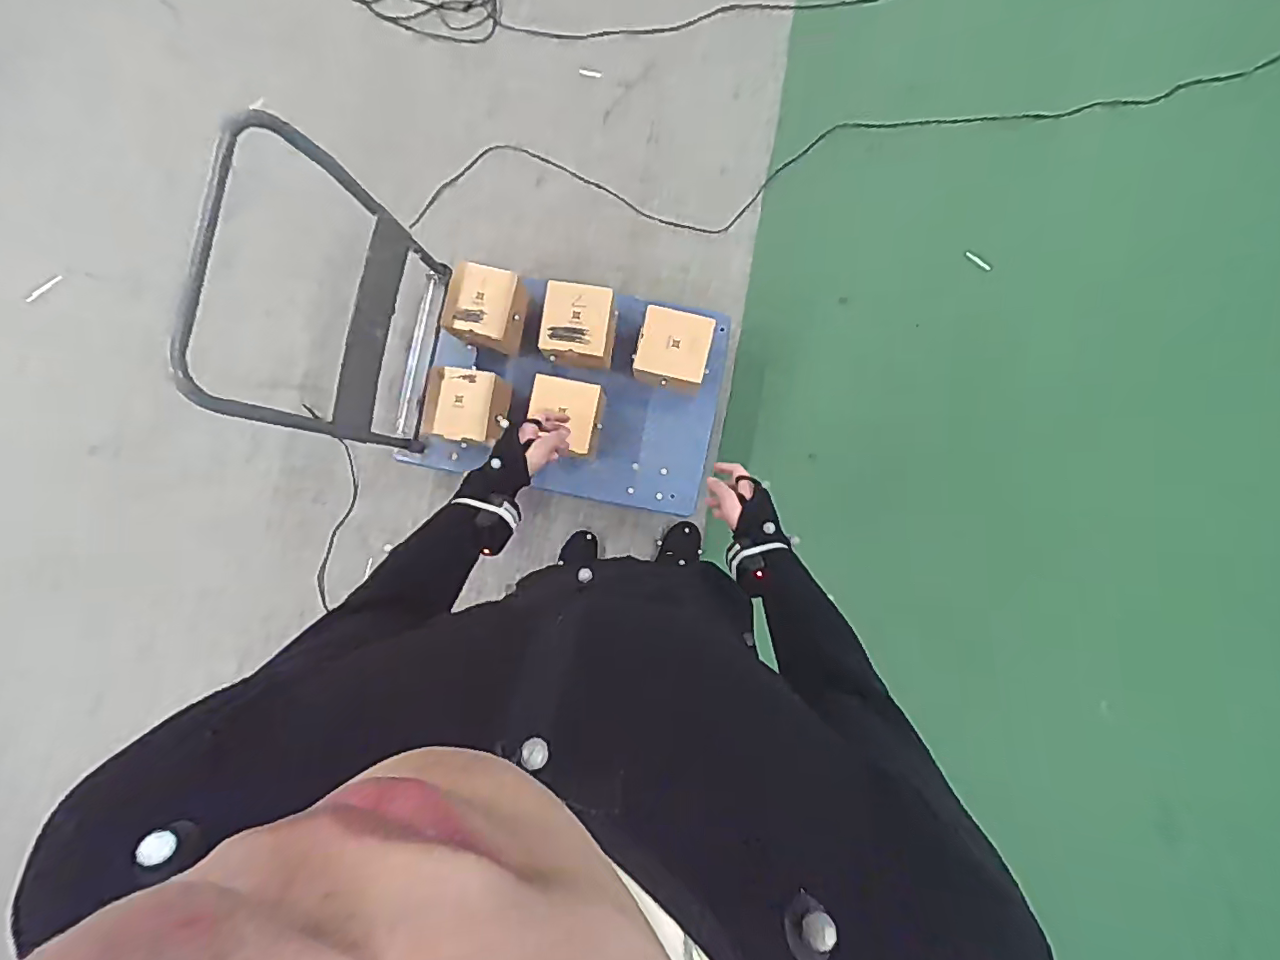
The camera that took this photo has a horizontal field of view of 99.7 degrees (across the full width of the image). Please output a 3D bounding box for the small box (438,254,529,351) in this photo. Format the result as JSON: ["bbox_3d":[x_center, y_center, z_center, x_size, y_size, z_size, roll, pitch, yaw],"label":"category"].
[{"bbox_3d":[-0.402,-0.455,1.416,0.168,0.176,0.179,14,88,1],"label":"small box"}]

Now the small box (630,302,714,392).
[{"bbox_3d":[0.081,-0.337,1.403,0.179,0.176,0.168,14,89,2],"label":"small box"}]

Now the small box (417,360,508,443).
[{"bbox_3d":[-0.452,-0.197,1.406,0.168,0.176,0.179,9,88,1],"label":"small box"}]
